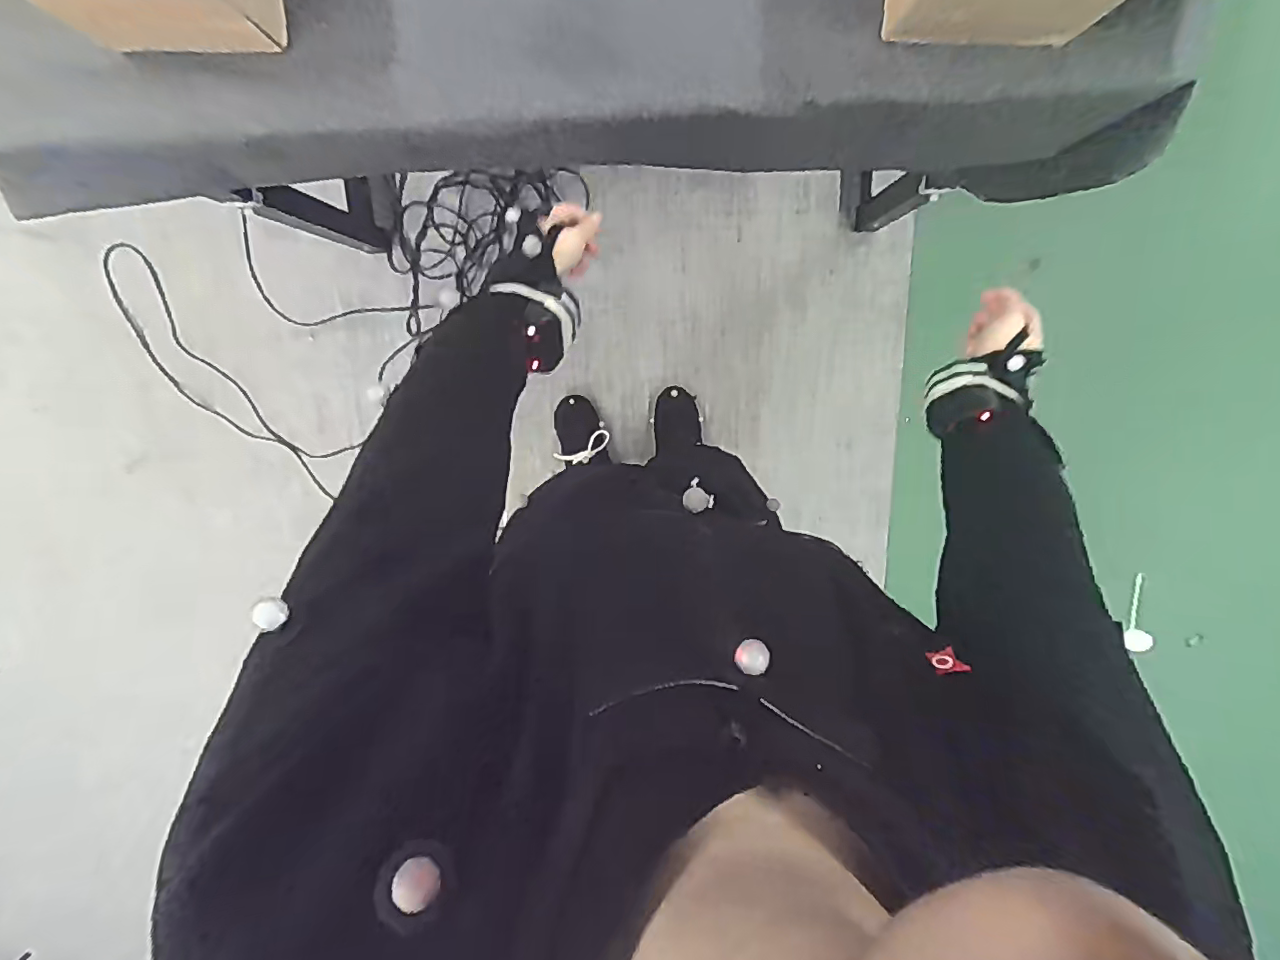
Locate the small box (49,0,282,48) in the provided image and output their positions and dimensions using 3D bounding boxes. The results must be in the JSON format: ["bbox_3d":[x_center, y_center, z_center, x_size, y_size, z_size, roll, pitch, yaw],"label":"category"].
[{"bbox_3d":[-0.433,-0.485,0.433,0.179,0.176,0.168,1,102,0],"label":"small box"}]
